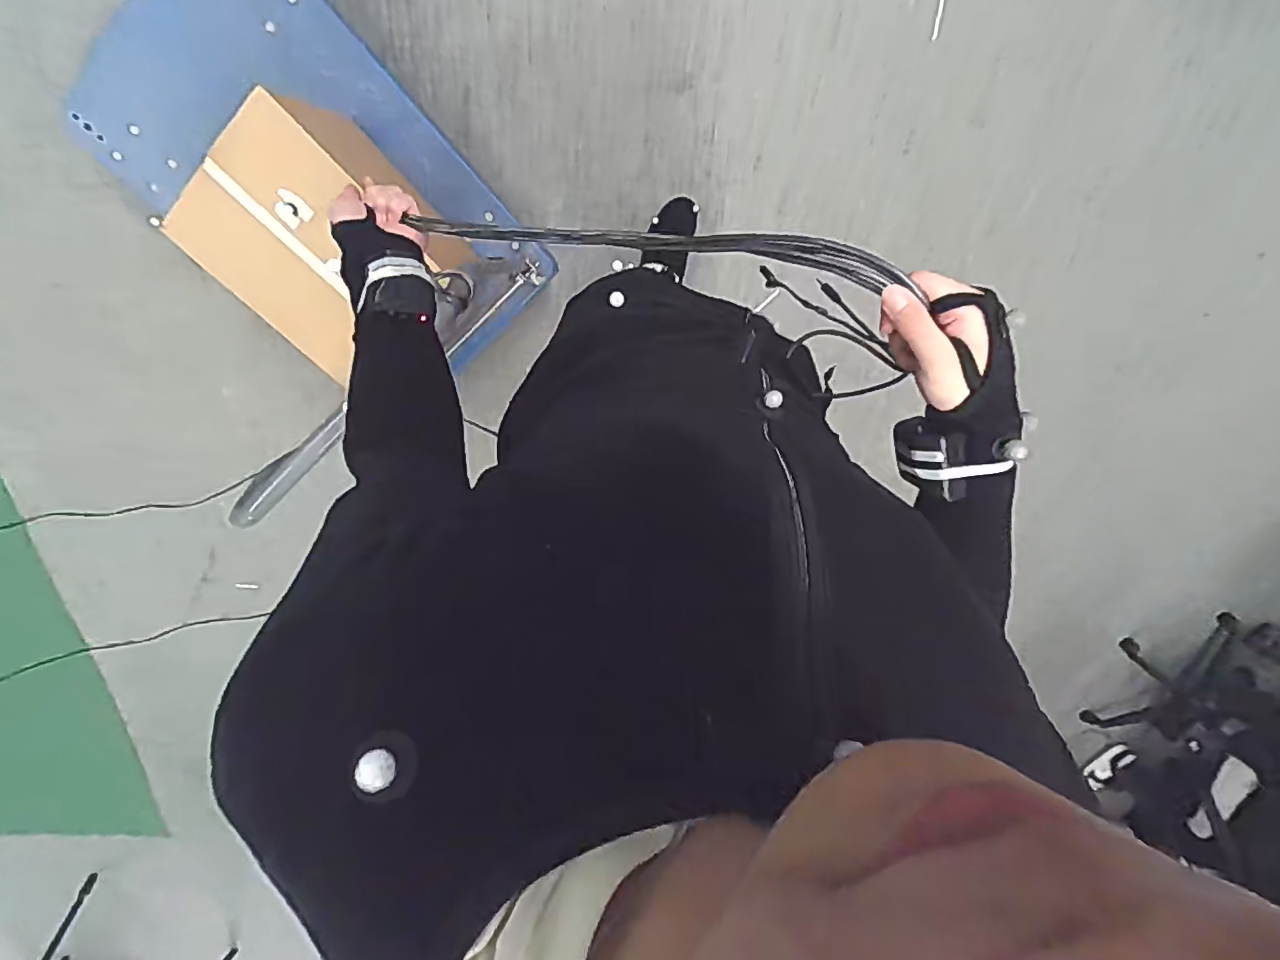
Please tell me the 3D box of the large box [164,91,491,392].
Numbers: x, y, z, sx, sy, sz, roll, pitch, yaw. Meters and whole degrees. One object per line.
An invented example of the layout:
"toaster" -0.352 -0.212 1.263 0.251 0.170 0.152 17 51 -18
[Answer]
"large box" -0.577 -0.454 1.085 0.320 0.320 0.408 -39 110 15
